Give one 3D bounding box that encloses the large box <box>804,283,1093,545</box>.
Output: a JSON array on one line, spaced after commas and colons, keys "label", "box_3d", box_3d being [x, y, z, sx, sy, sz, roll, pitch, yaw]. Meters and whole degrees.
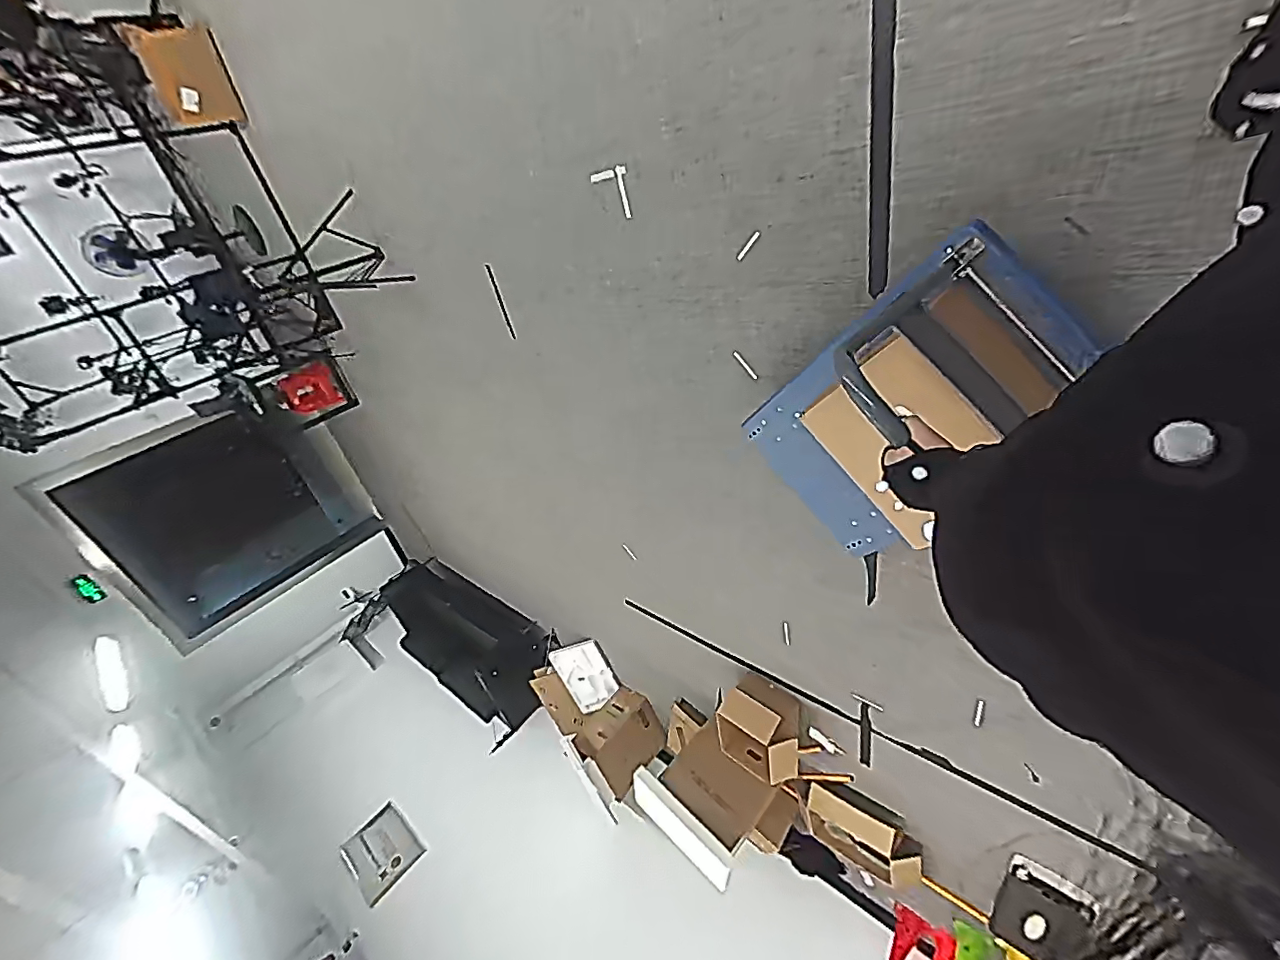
[{"label": "large box", "box_3d": [0.658, -0.138, 1.176, 0.408, 0.320, 0.320, 50, 146, 5]}]
